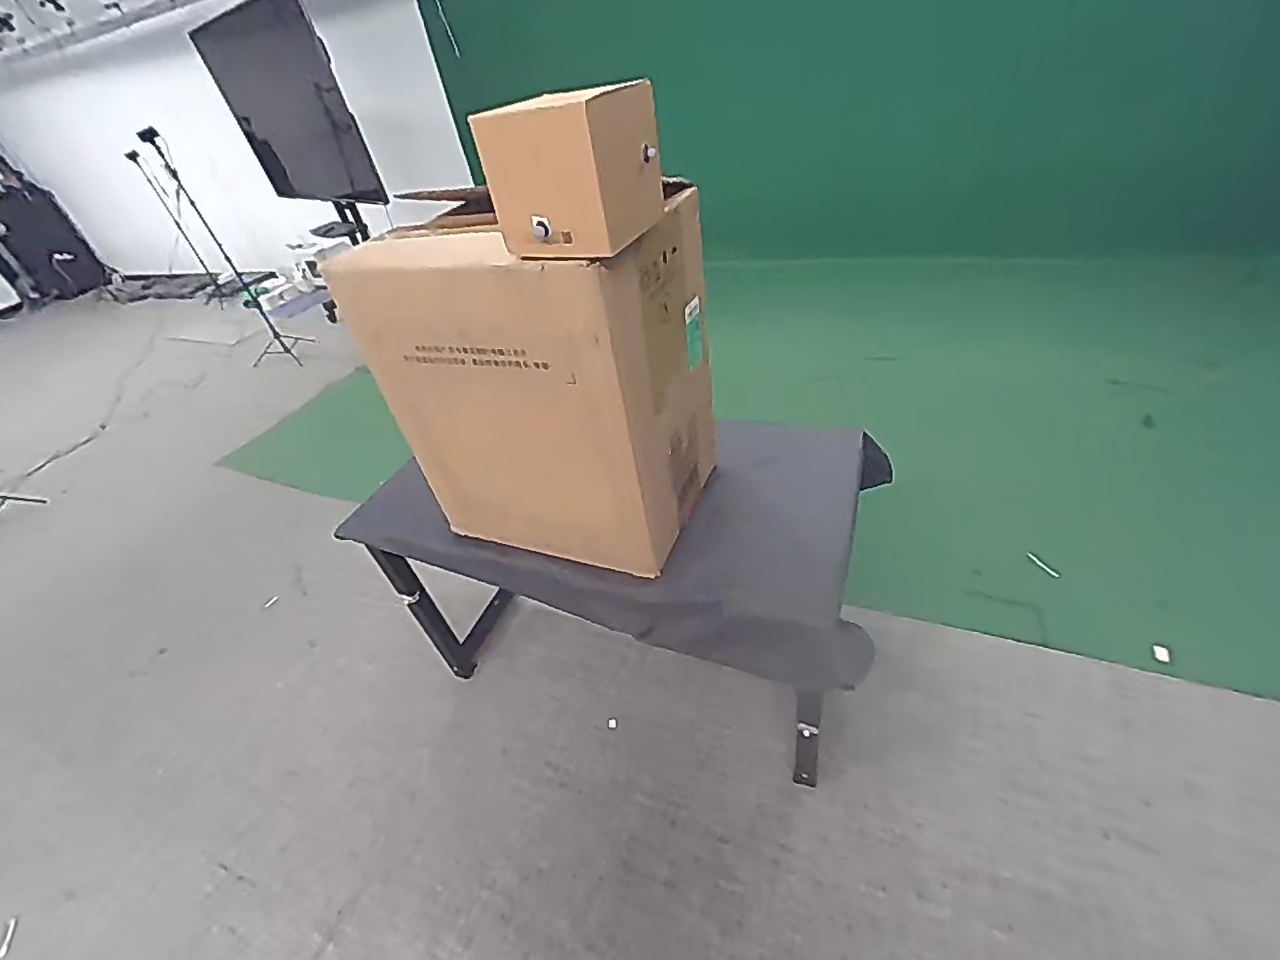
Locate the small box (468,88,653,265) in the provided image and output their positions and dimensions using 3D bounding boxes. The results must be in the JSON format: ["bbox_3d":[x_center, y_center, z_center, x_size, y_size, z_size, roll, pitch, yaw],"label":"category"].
[{"bbox_3d":[-0.090,-0.401,0.722,0.168,0.176,0.179,9,43,23],"label":"small box"}]
